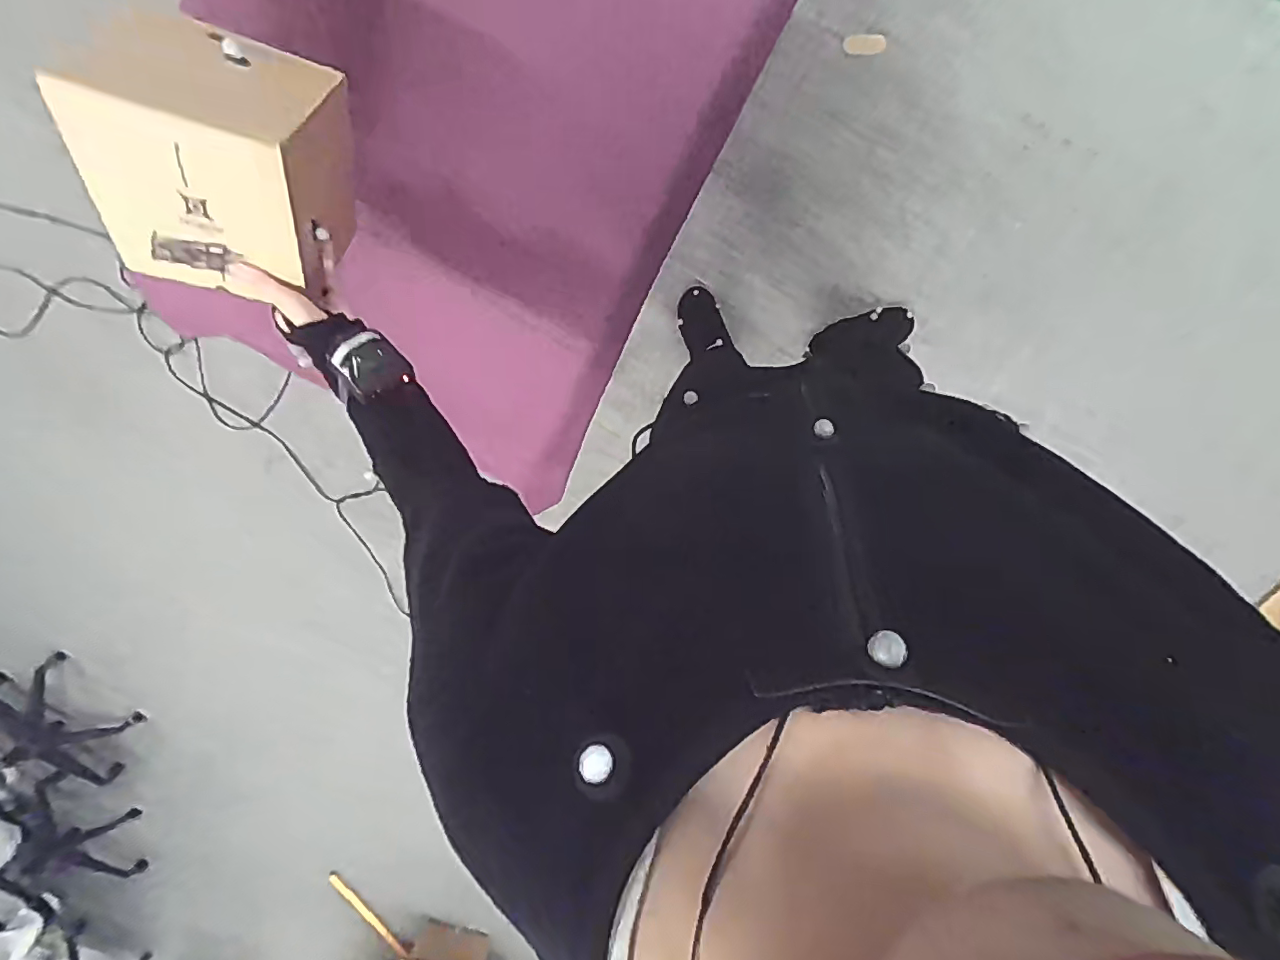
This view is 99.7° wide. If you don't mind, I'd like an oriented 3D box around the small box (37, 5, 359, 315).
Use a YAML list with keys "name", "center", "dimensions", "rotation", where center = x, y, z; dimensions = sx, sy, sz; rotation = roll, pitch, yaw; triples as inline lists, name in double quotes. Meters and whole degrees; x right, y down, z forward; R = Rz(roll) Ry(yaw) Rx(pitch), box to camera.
- name: "small box"
  center: [-0.386, -0.299, 0.521]
  dimensions: [0.168, 0.176, 0.179]
  rotation: [11, 144, -16]
